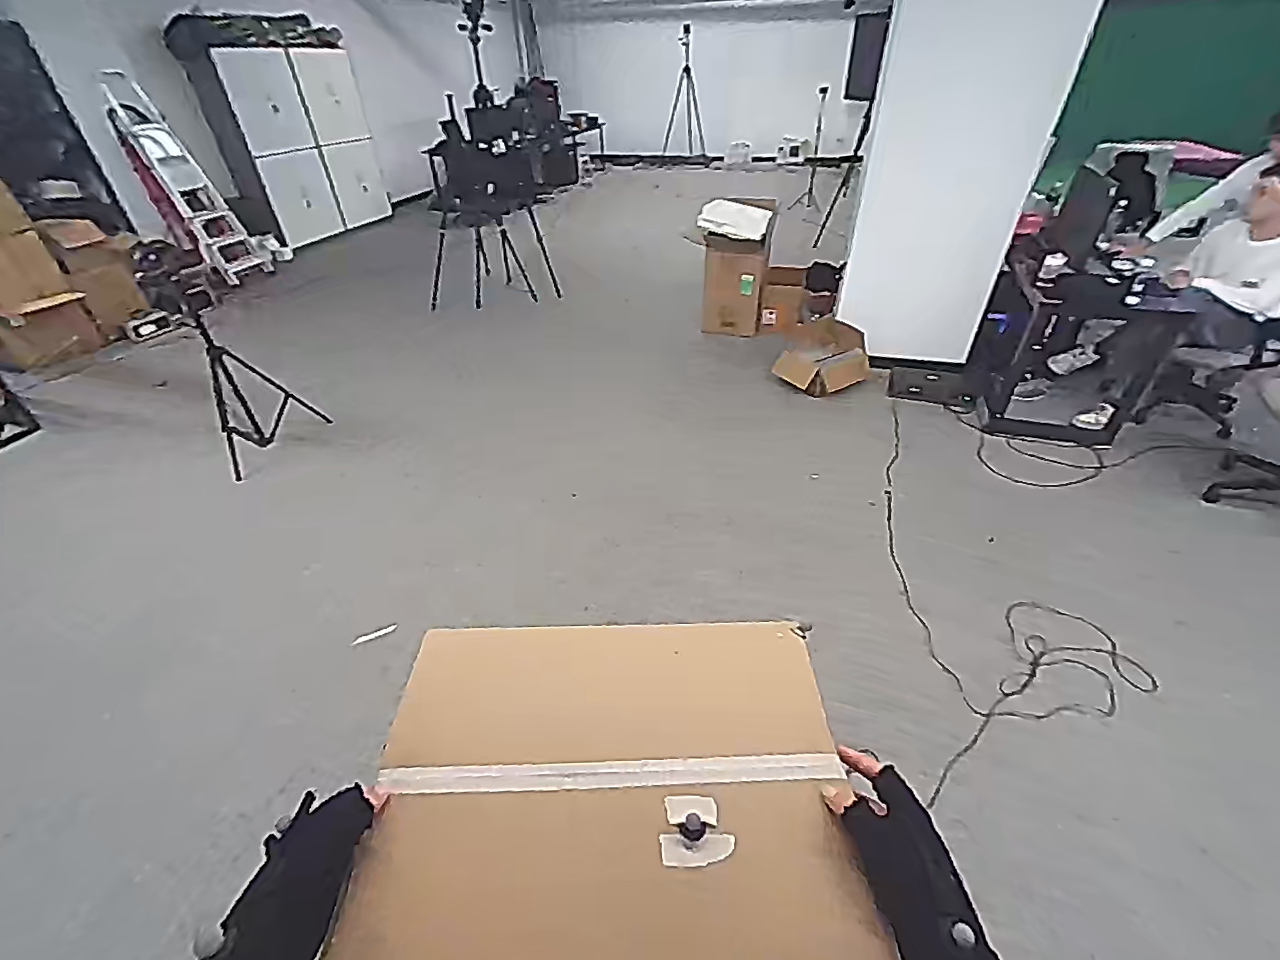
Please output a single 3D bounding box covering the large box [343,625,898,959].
[{"bbox_3d":[-0.019,0.378,0.579,0.408,0.320,0.320,0,39,-1],"label":"large box"}]
